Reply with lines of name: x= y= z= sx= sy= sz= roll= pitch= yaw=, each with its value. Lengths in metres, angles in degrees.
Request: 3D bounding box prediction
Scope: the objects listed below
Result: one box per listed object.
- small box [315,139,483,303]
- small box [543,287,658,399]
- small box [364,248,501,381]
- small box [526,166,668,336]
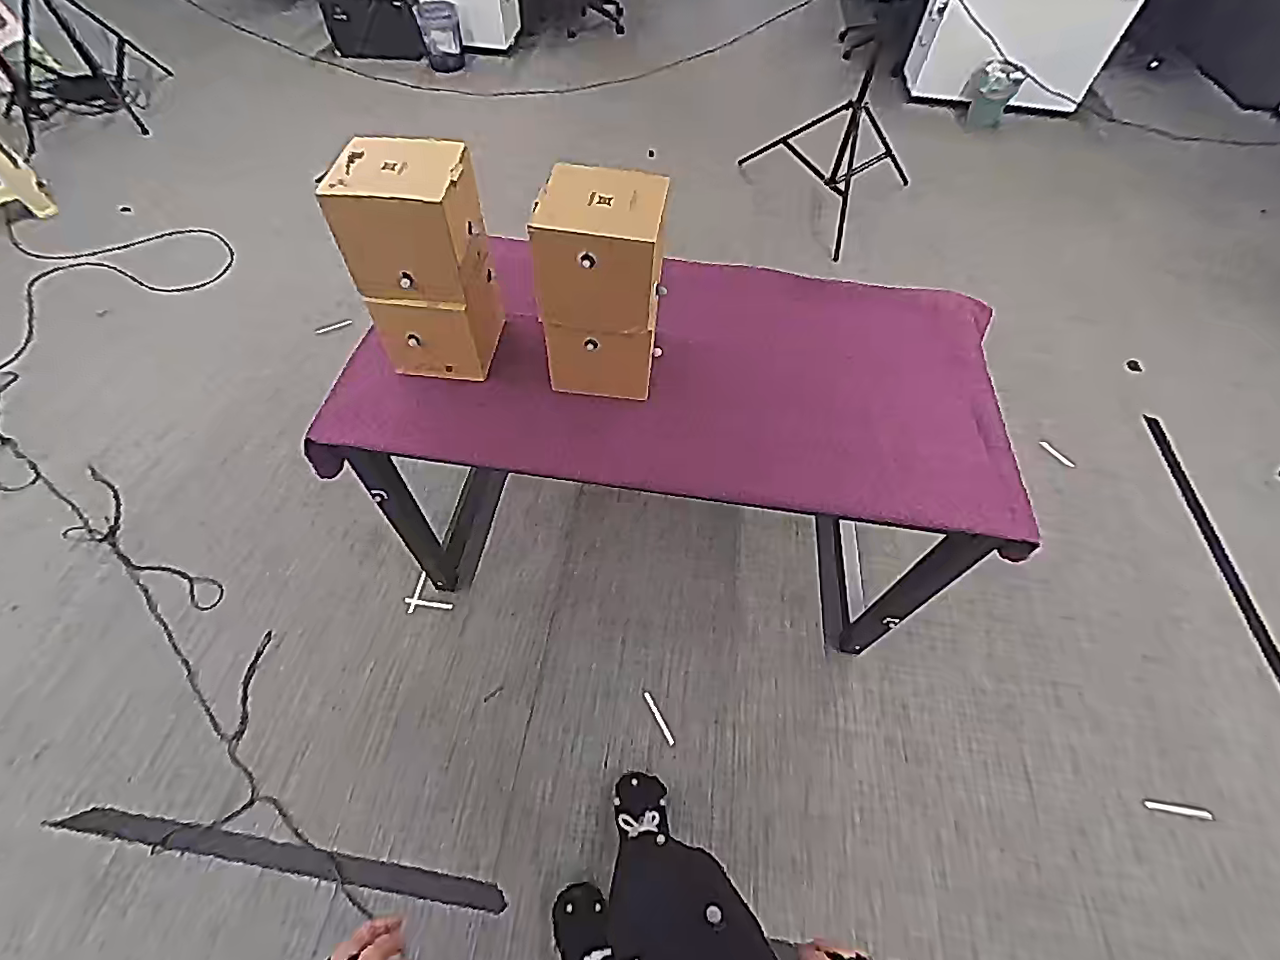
small box: x=-0.355 y=-0.396 z=0.841 sx=0.179 sy=0.176 sz=0.168 roll=4 pitch=55 yaw=-2
small box: x=-0.065 y=-0.263 z=0.965 sx=0.179 sy=0.176 sz=0.168 roll=7 pitch=56 yaw=0
small box: x=-0.358 y=-0.298 z=0.973 sx=0.168 sy=0.176 sz=0.179 roll=5 pitch=56 yaw=0
small box: x=-0.060 y=-0.342 z=0.823 sx=0.179 sy=0.176 sz=0.168 roll=9 pitch=58 yaw=1
